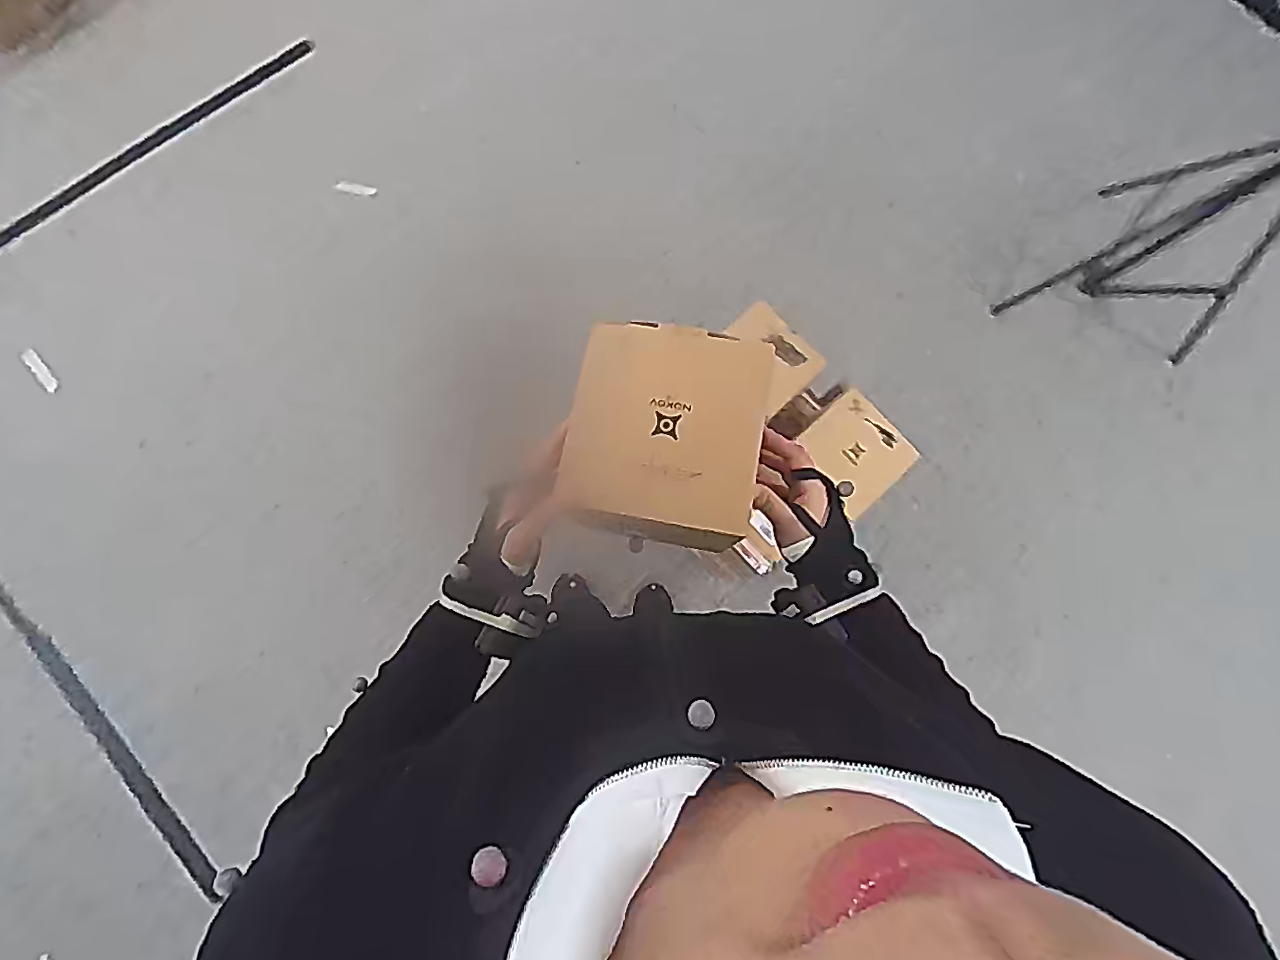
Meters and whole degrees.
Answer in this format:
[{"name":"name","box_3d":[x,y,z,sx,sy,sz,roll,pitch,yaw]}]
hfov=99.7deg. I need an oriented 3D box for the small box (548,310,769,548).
[{"name":"small box","box_3d":[0.019,-0.037,0.532,0.168,0.176,0.179,9,79,3]}]
